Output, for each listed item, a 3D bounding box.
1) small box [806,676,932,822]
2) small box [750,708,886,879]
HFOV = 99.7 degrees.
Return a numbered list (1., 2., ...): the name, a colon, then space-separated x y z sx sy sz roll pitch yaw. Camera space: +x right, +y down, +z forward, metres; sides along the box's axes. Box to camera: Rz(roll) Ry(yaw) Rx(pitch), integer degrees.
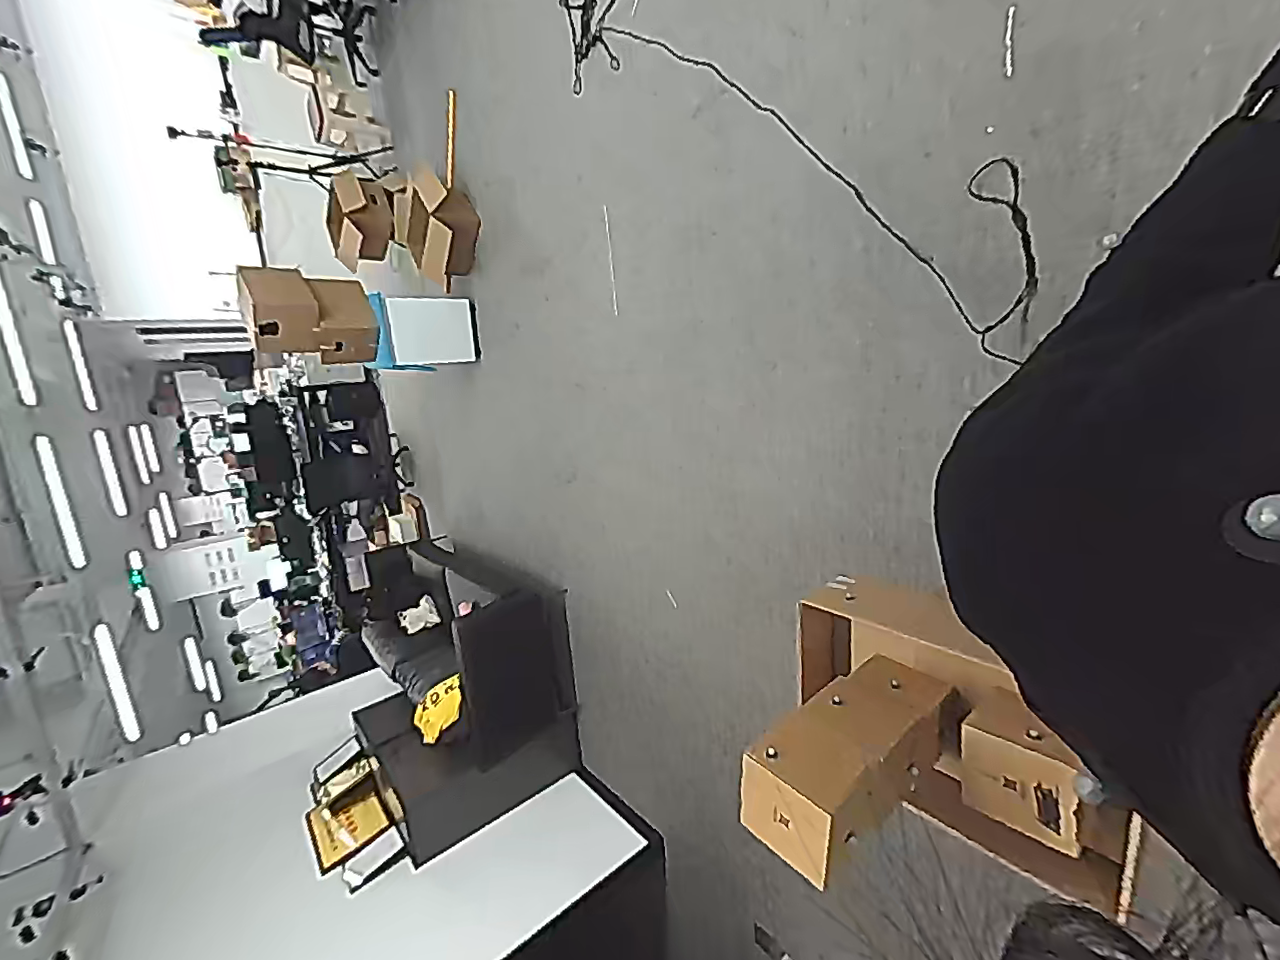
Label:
1. small box: 0.448 0.518 1.078 0.179 0.176 0.168 16 114 48
2. small box: 0.322 0.552 0.982 0.179 0.176 0.168 18 116 48
